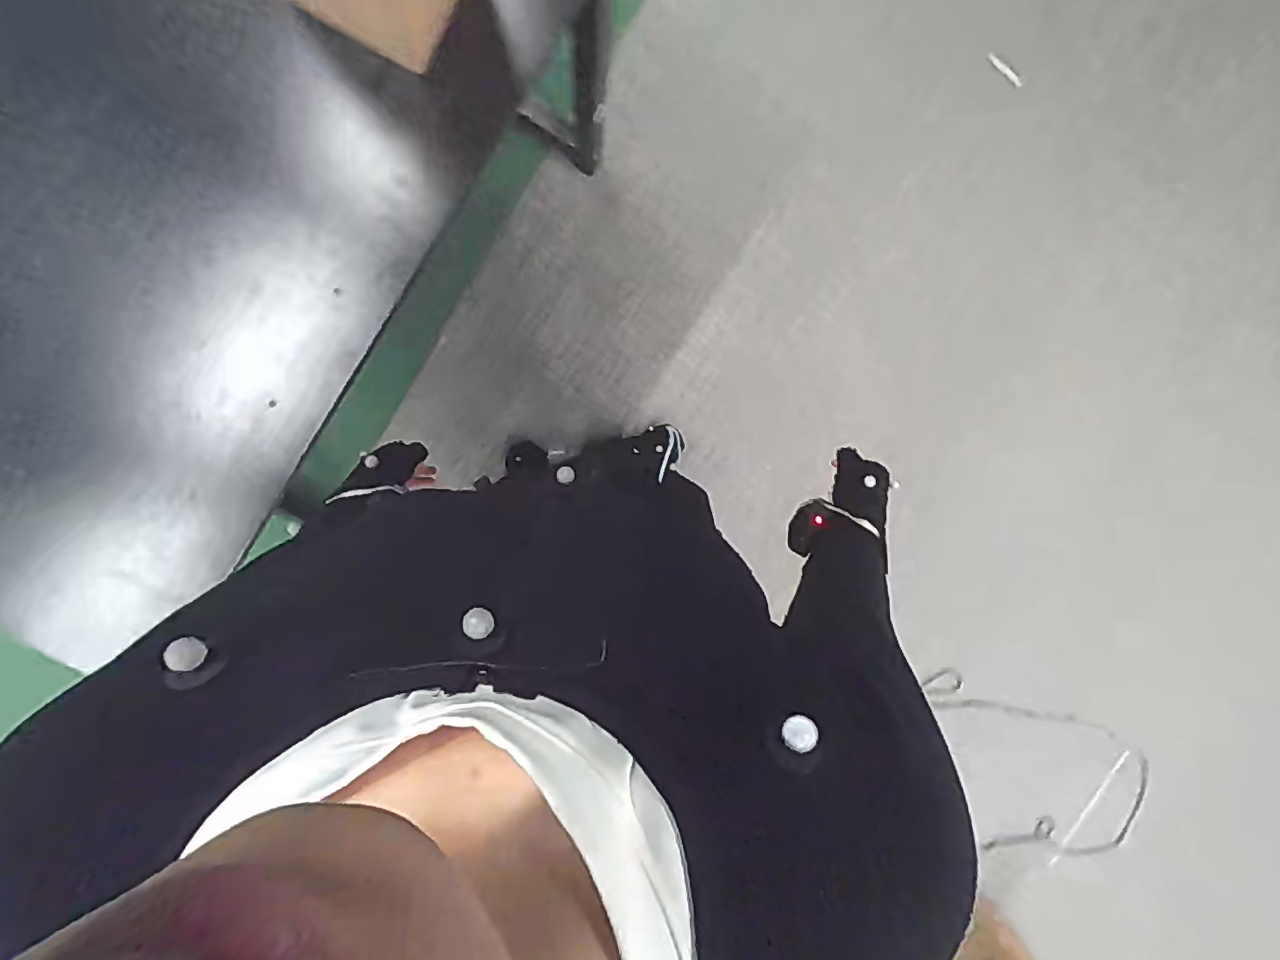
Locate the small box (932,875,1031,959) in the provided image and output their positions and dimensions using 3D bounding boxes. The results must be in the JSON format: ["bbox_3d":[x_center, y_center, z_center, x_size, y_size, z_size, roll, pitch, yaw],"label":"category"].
[{"bbox_3d":[1.088,1.431,1.738,0.168,0.176,0.179,34,93,-10],"label":"small box"}]

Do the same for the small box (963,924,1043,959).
[{"bbox_3d":[1.101,1.460,1.577,0.179,0.176,0.168,35,93,-9],"label":"small box"}]
